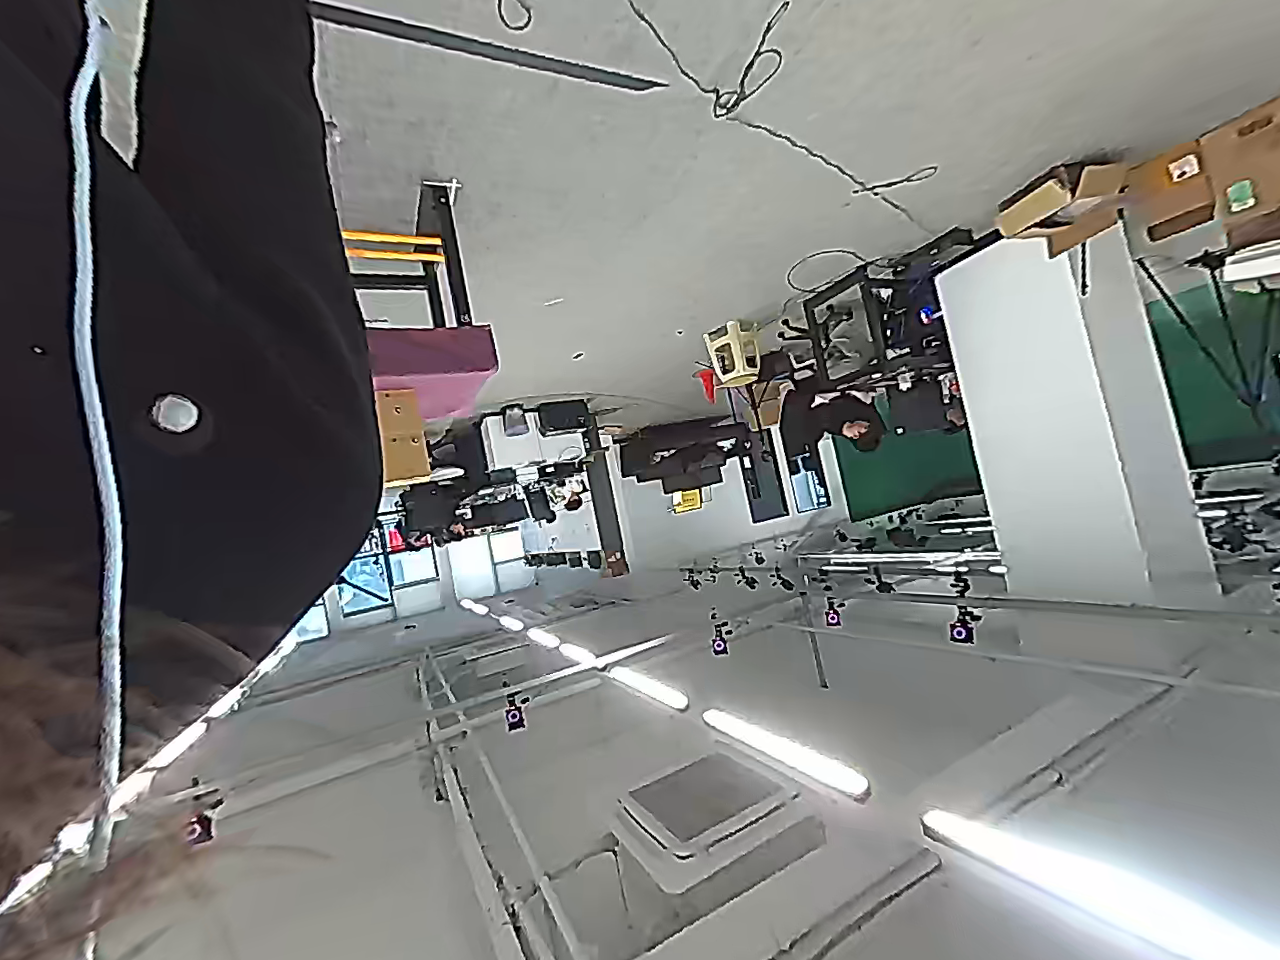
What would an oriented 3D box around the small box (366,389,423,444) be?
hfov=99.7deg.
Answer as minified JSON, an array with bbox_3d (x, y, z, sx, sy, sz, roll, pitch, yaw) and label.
[{"bbox_3d":[-0.929,-0.243,2.036,0.168,0.176,0.179,-10,176,-30],"label":"small box"}]

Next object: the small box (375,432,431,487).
[{"bbox_3d":[-0.896,-0.081,2.039,0.168,0.176,0.179,-10,177,-26],"label":"small box"}]
